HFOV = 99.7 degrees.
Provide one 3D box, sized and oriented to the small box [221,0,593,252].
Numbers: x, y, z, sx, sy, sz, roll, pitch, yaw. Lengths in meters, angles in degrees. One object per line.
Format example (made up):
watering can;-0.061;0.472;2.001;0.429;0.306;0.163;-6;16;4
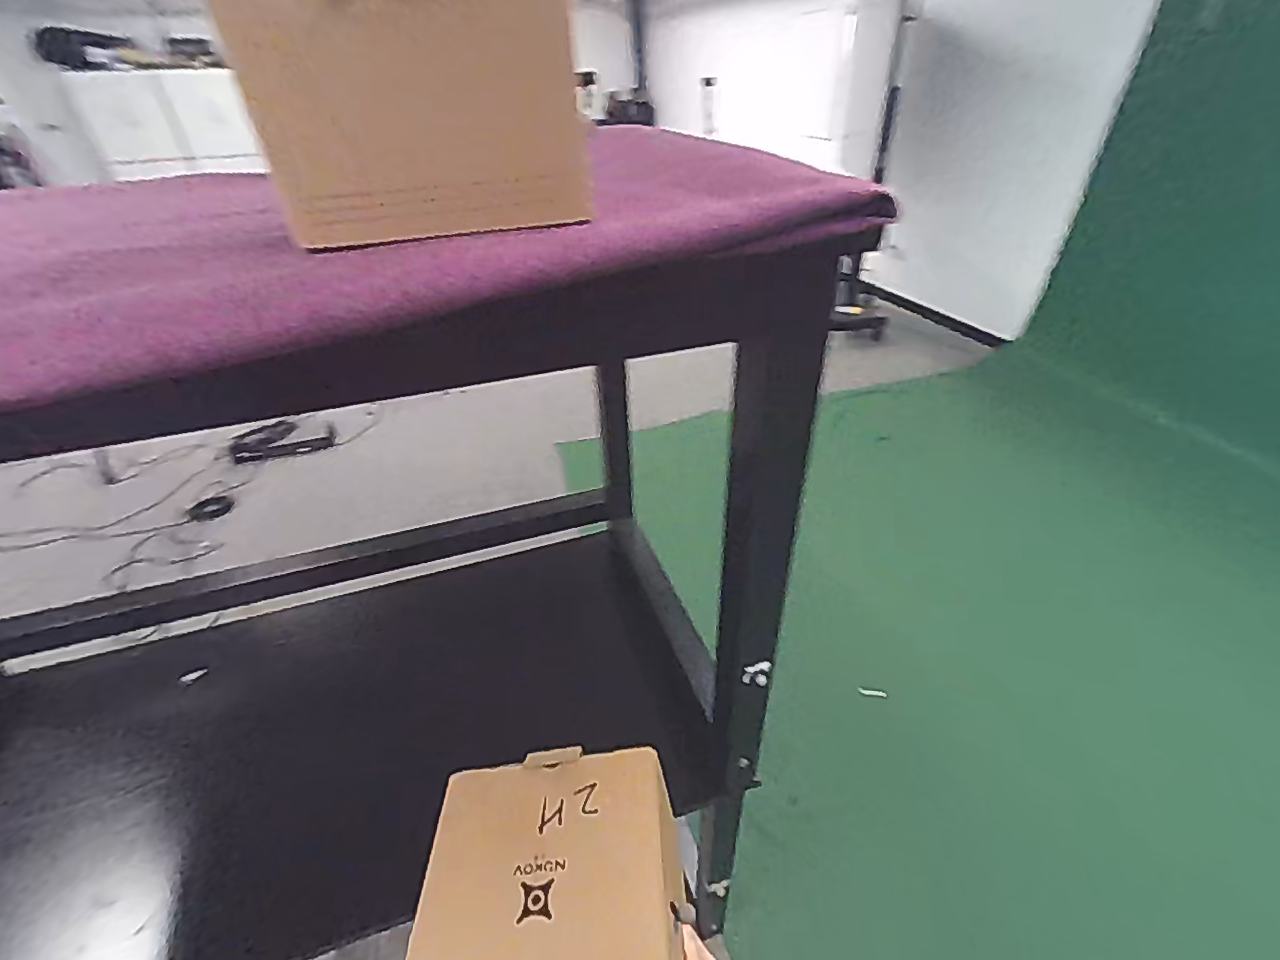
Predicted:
small box;-0.134;-0.253;0.348;0.179;0.176;0.168;-9;35;-8
